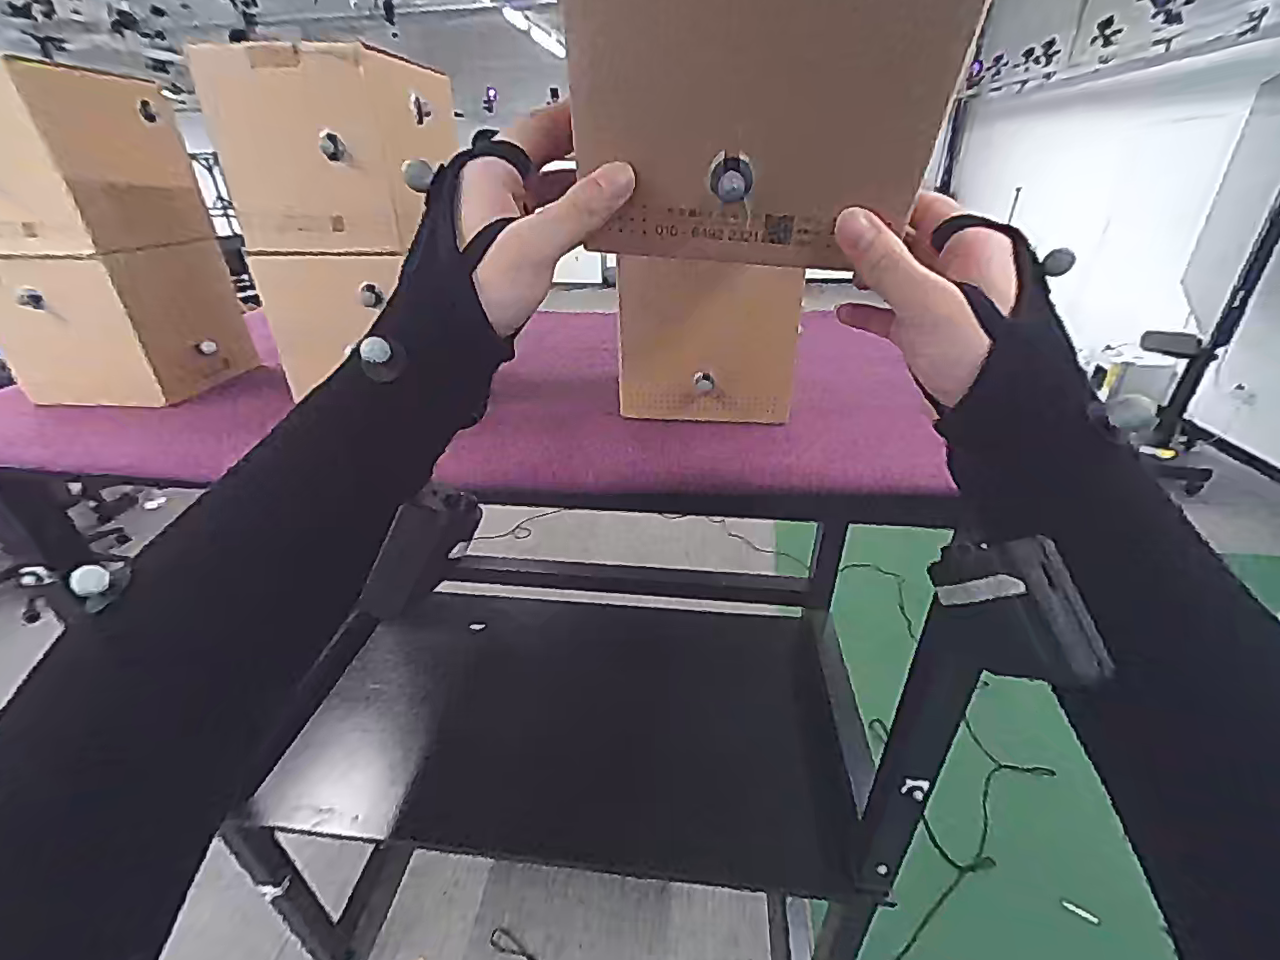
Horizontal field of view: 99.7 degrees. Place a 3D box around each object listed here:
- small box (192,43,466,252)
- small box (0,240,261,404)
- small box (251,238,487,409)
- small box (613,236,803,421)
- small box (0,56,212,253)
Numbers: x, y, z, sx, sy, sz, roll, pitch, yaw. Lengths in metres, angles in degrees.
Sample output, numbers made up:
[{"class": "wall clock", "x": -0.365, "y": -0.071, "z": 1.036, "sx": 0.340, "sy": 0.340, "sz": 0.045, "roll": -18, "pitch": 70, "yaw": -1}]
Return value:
[{"class": "small box", "x": -0.301, "y": -0.336, "z": 0.573, "sx": 0.168, "sy": 0.176, "sz": 0.179, "roll": 4, "pitch": 29, "yaw": 6}, {"class": "small box", "x": -0.628, "y": -0.199, "z": 0.671, "sx": 0.179, "sy": 0.176, "sz": 0.168, "roll": 2, "pitch": 30, "yaw": 3}, {"class": "small box", "x": -0.299, "y": -0.189, "z": 0.644, "sx": 0.179, "sy": 0.176, "sz": 0.168, "roll": 3, "pitch": 28, "yaw": 7}, {"class": "small box", "x": 0.071, "y": -0.171, "z": 0.598, "sx": 0.179, "sy": 0.176, "sz": 0.168, "roll": 3, "pitch": 27, "yaw": 7}, {"class": "small box", "x": -0.631, "y": -0.343, "z": 0.596, "sx": 0.168, "sy": 0.176, "sz": 0.179, "roll": 1, "pitch": 28, "yaw": 3}]
